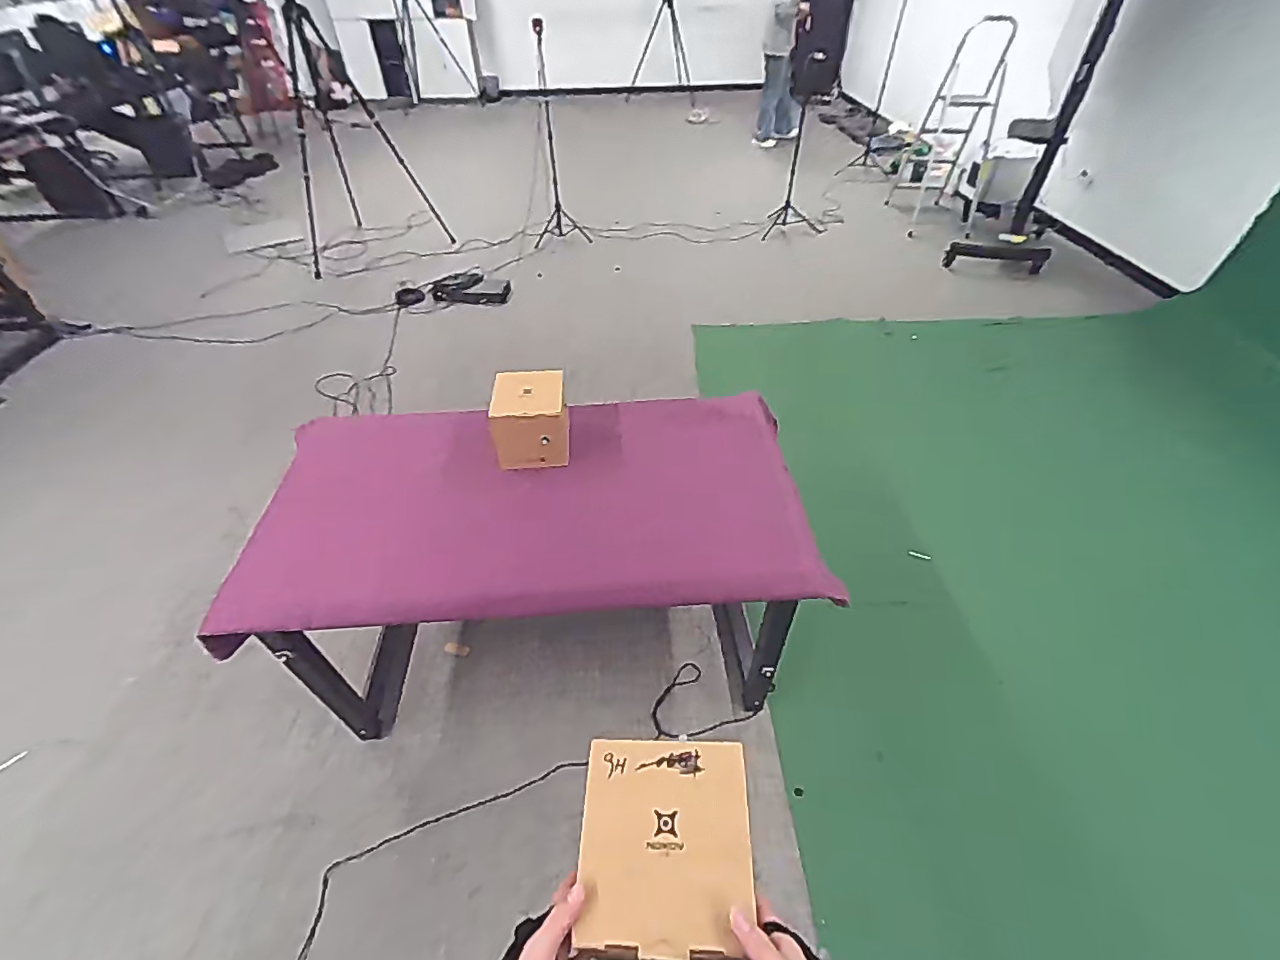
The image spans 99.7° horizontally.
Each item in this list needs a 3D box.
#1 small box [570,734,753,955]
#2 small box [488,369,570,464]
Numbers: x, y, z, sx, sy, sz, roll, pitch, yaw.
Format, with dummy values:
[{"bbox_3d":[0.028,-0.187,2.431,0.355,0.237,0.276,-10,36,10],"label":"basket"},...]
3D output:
[{"bbox_3d":[0.030,0.392,0.583,0.168,0.176,0.179,-2,47,5],"label":"small box"},{"bbox_3d":[-0.264,-0.150,1.330,0.168,0.176,0.179,-4,45,-2],"label":"small box"}]
